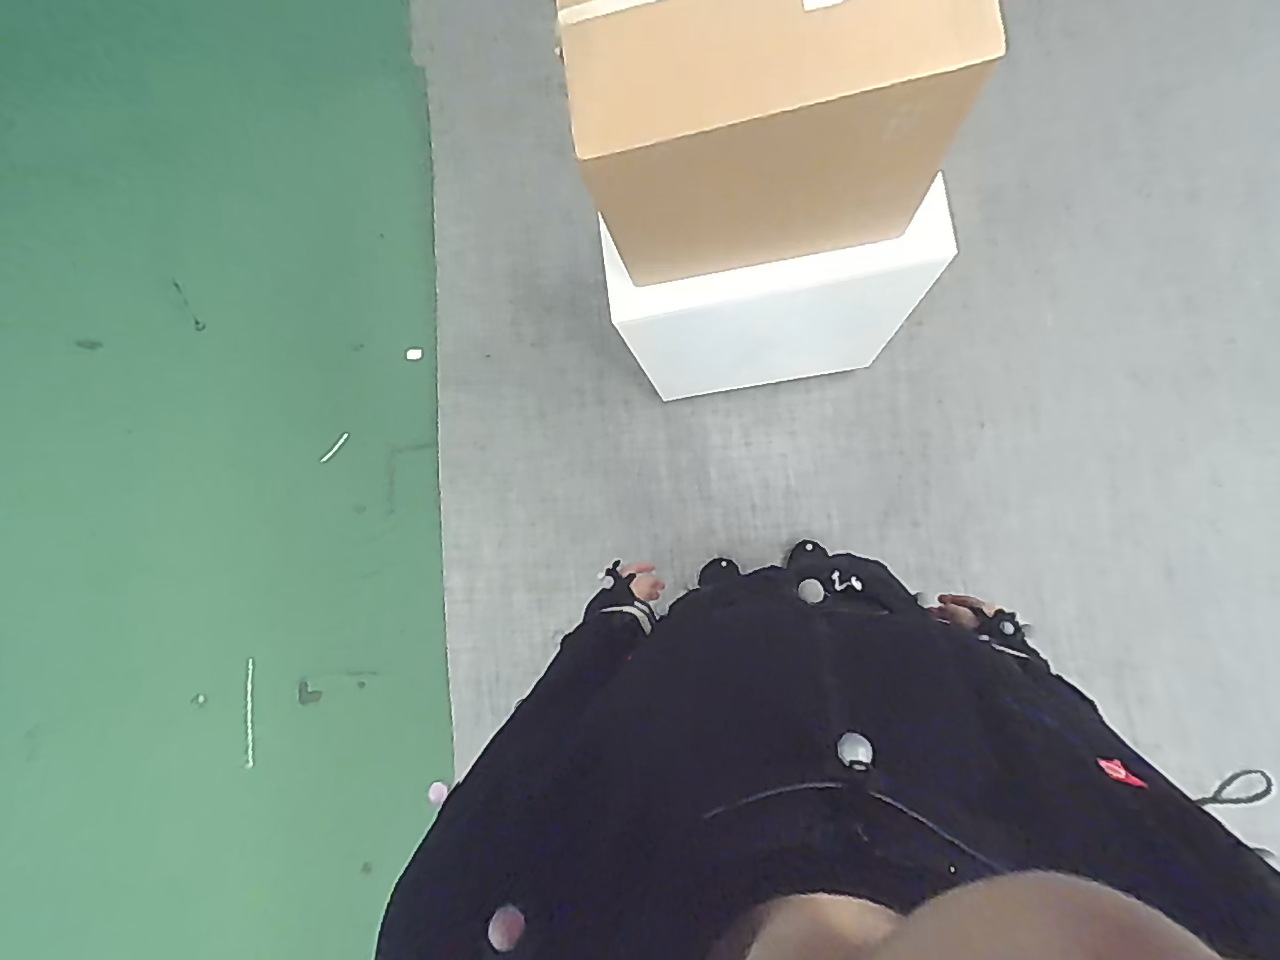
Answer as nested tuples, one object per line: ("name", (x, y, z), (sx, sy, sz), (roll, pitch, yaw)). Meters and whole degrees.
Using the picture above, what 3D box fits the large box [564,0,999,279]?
("large box", (0.140, -0.499, 0.684), (0.408, 0.320, 0.320), (-8, 85, 9))
